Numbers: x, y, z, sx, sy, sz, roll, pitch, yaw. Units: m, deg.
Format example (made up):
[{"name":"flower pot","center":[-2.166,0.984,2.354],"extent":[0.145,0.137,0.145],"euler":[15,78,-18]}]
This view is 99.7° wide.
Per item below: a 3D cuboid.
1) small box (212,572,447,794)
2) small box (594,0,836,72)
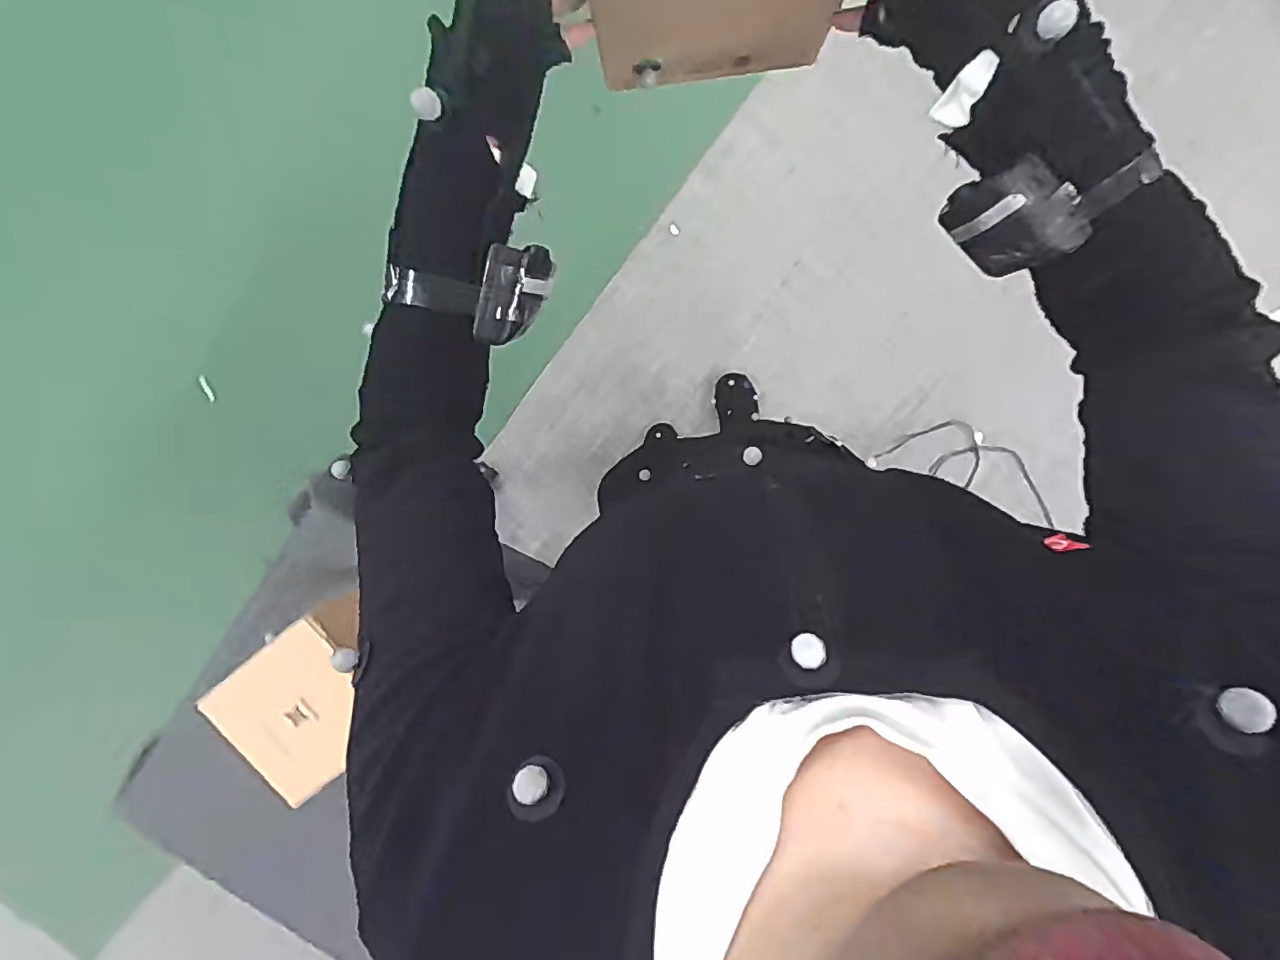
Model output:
[{"name":"small box","center":[-0.379,0.248,0.703],"extent":[0.179,0.176,0.168],"euler":[-39,95,9]},{"name":"small box","center":[0.046,-0.388,0.331],"extent":[0.168,0.176,0.179],"euler":[-4,100,3]}]
